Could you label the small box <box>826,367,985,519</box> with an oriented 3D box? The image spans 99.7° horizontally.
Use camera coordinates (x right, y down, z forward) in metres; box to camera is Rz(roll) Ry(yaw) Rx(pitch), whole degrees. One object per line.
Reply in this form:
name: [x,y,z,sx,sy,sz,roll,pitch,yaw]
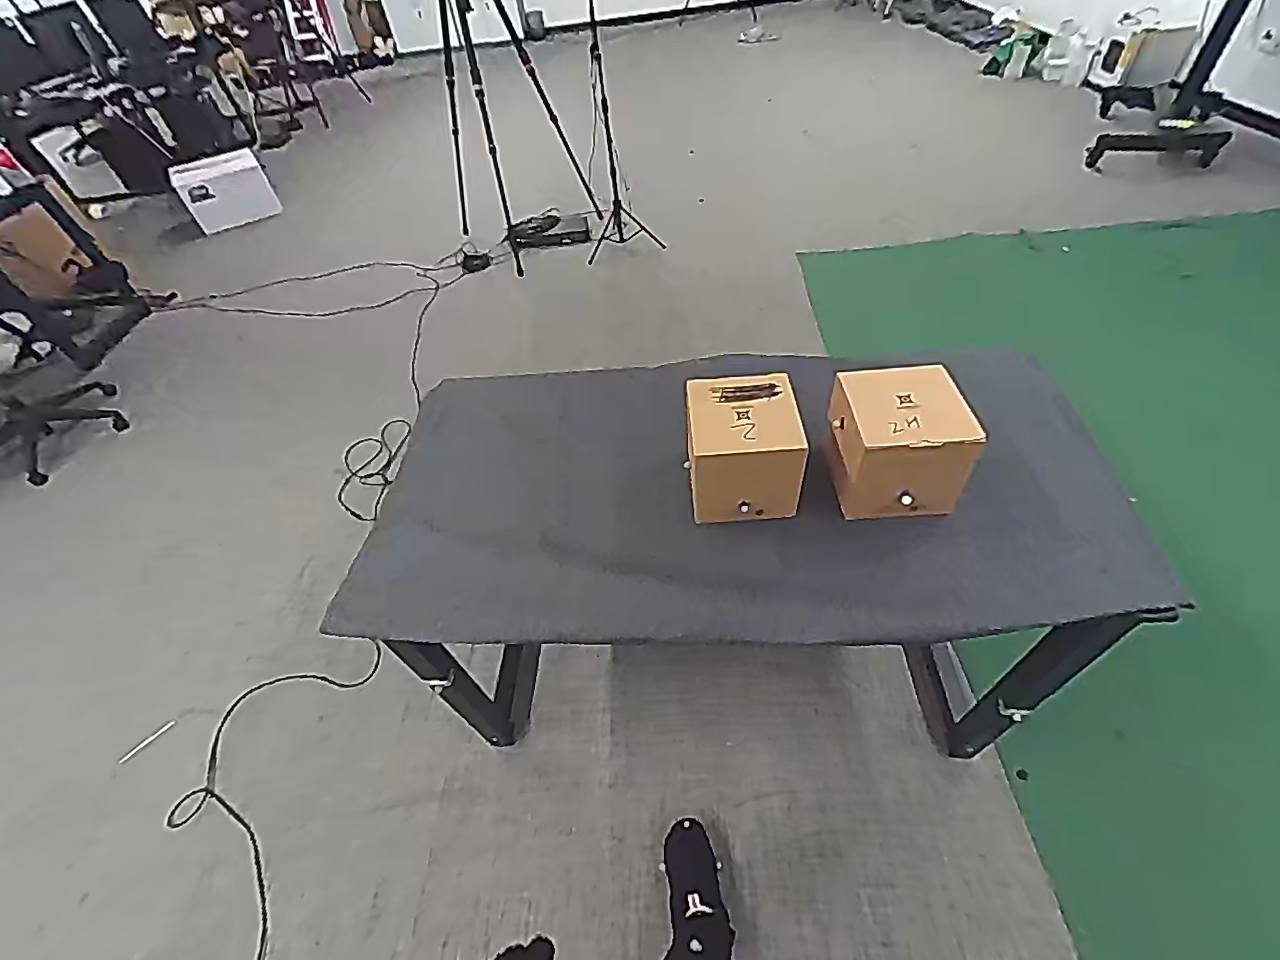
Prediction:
small box: [0.407,-0.058,0.867,0.168,0.176,0.179,-4,48,6]
